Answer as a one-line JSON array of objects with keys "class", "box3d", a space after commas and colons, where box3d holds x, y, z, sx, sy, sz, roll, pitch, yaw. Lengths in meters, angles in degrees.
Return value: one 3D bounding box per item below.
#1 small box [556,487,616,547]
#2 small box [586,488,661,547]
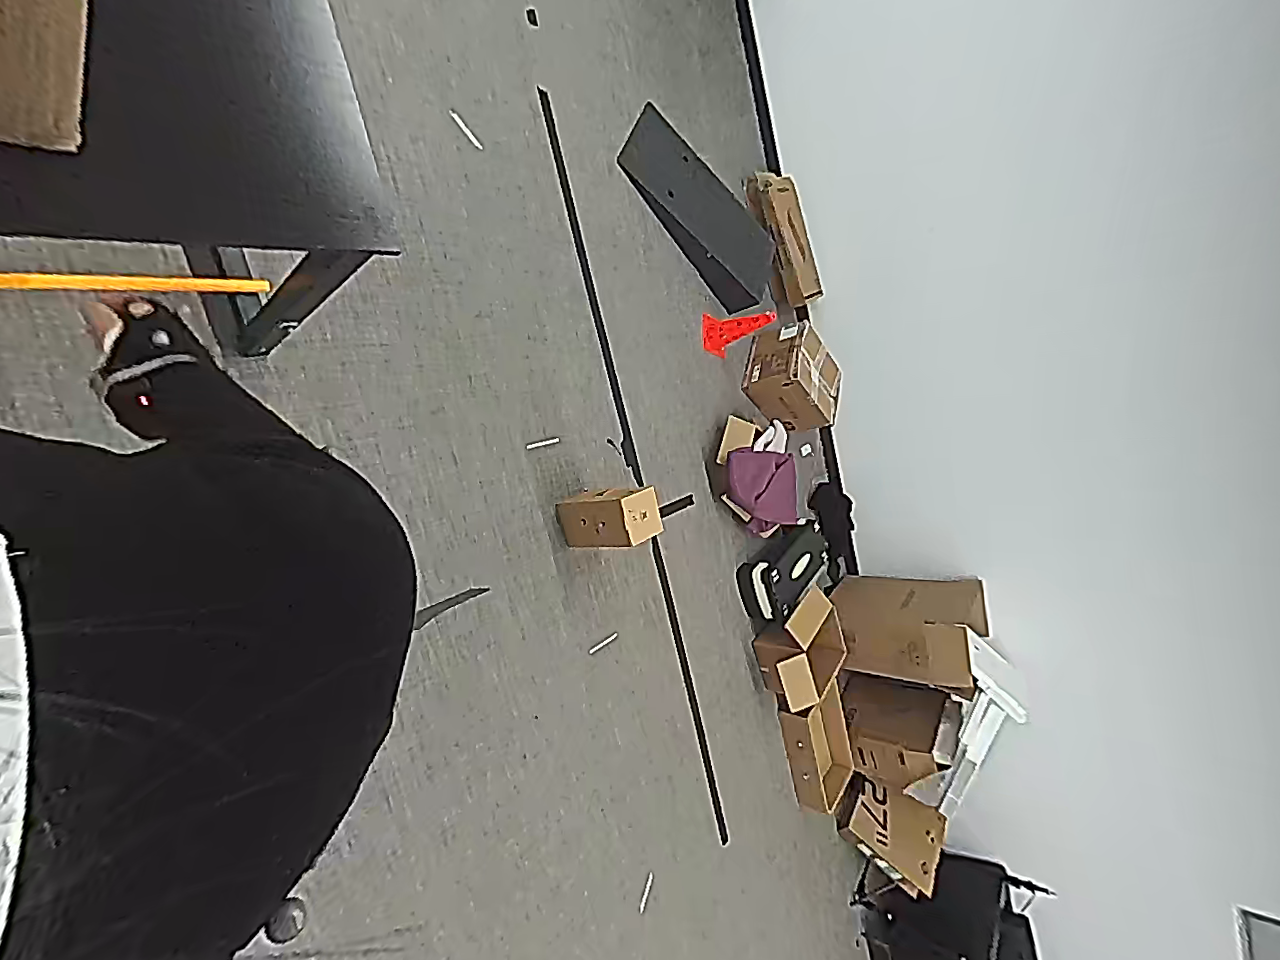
[{"class": "small box", "box3d": [-0.181, 0.137, 1.976, 0.168, 0.176, 0.179, -26, 105, -46]}, {"class": "small box", "box3d": [-0.058, 0.127, 1.868, 0.179, 0.176, 0.168, -21, 100, -47]}]
